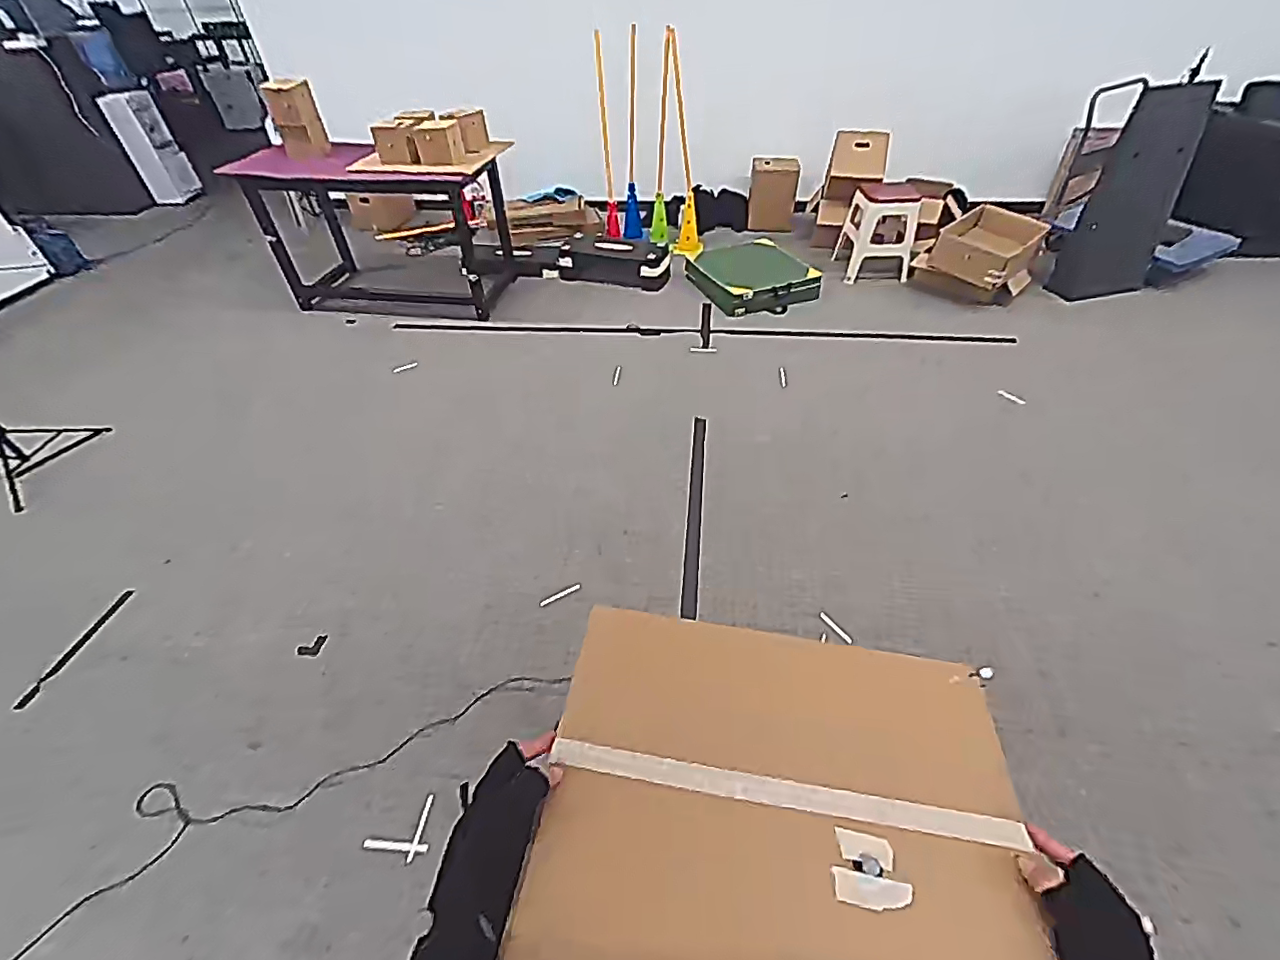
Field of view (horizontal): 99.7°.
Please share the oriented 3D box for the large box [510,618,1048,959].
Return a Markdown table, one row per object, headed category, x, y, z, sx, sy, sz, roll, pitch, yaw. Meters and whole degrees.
| category | x | y | z | sx | sy | sz | roll | pitch | yaw |
| --- | --- | --- | --- | --- | --- | --- | --- | --- | --- |
| large box | 0.114 | 0.387 | 0.577 | 0.408 | 0.320 | 0.320 | 8 | 44 | 5 |
